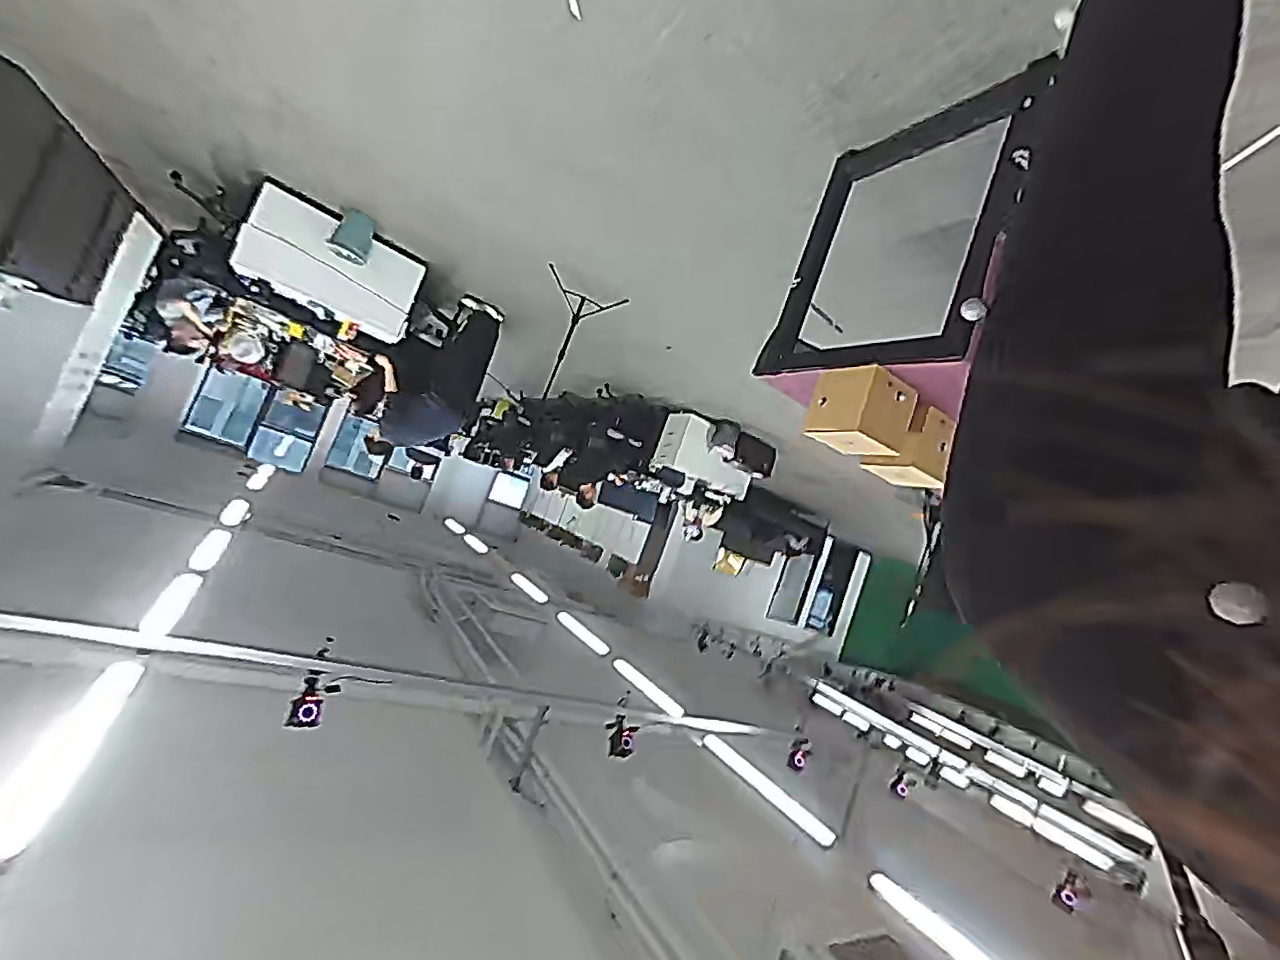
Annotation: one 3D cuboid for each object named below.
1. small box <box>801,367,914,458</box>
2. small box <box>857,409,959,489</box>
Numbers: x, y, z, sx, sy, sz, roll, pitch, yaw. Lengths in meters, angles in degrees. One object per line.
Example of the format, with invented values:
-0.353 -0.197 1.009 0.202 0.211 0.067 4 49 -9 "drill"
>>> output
0.538 -0.167 1.335 0.168 0.176 0.179 21 176 -28 "small box"
0.727 -0.086 1.458 0.168 0.176 0.179 23 175 -26 "small box"
